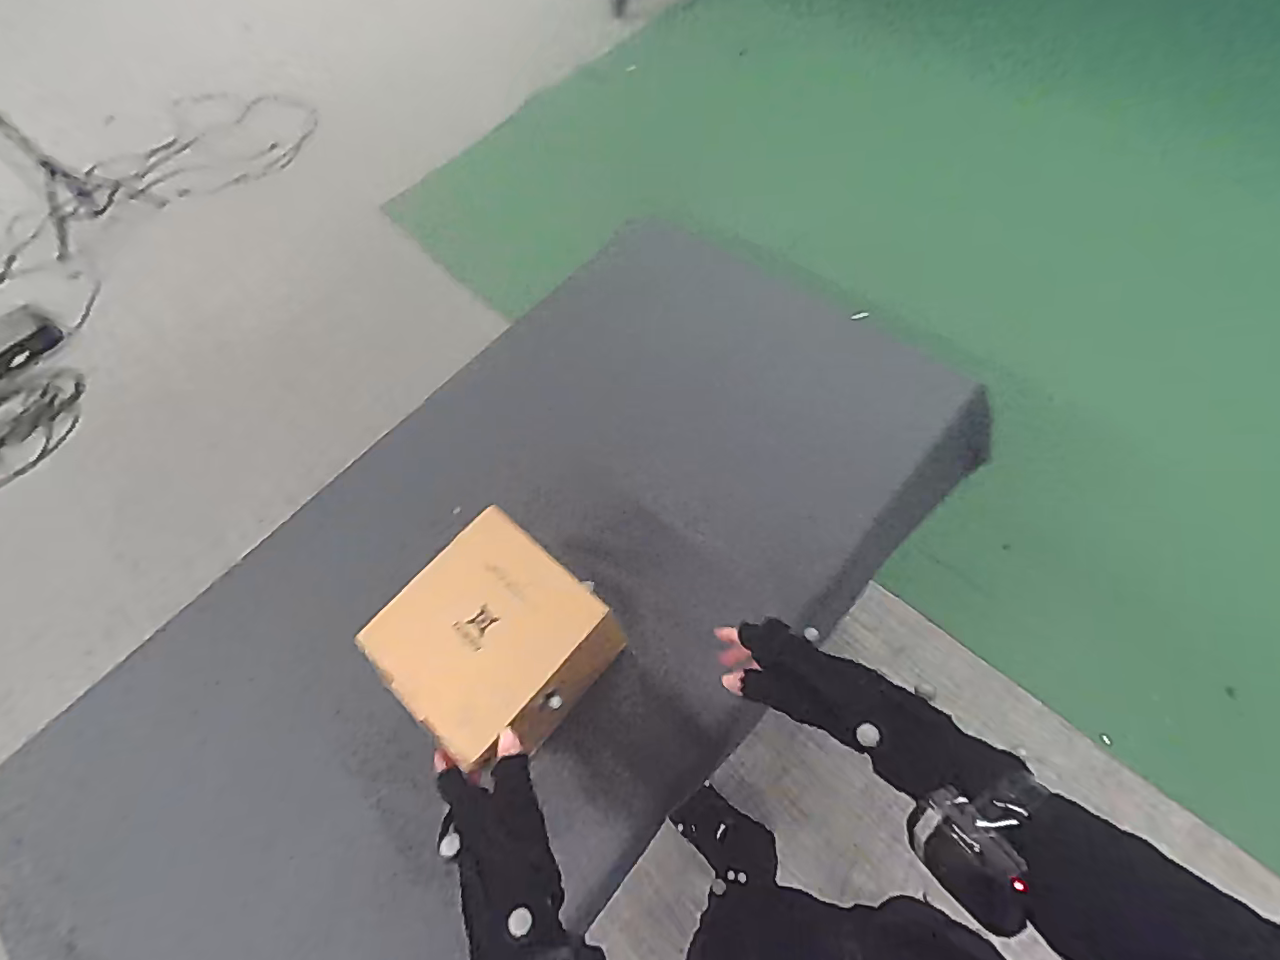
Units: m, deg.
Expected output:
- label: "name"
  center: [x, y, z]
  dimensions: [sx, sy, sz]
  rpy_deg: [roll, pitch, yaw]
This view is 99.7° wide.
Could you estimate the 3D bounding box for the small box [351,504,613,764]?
- label: "small box"
  center: [-0.144, 0.163, 0.563]
  dimensions: [0.168, 0.176, 0.179]
  rpy_deg: [37, 72, 19]
